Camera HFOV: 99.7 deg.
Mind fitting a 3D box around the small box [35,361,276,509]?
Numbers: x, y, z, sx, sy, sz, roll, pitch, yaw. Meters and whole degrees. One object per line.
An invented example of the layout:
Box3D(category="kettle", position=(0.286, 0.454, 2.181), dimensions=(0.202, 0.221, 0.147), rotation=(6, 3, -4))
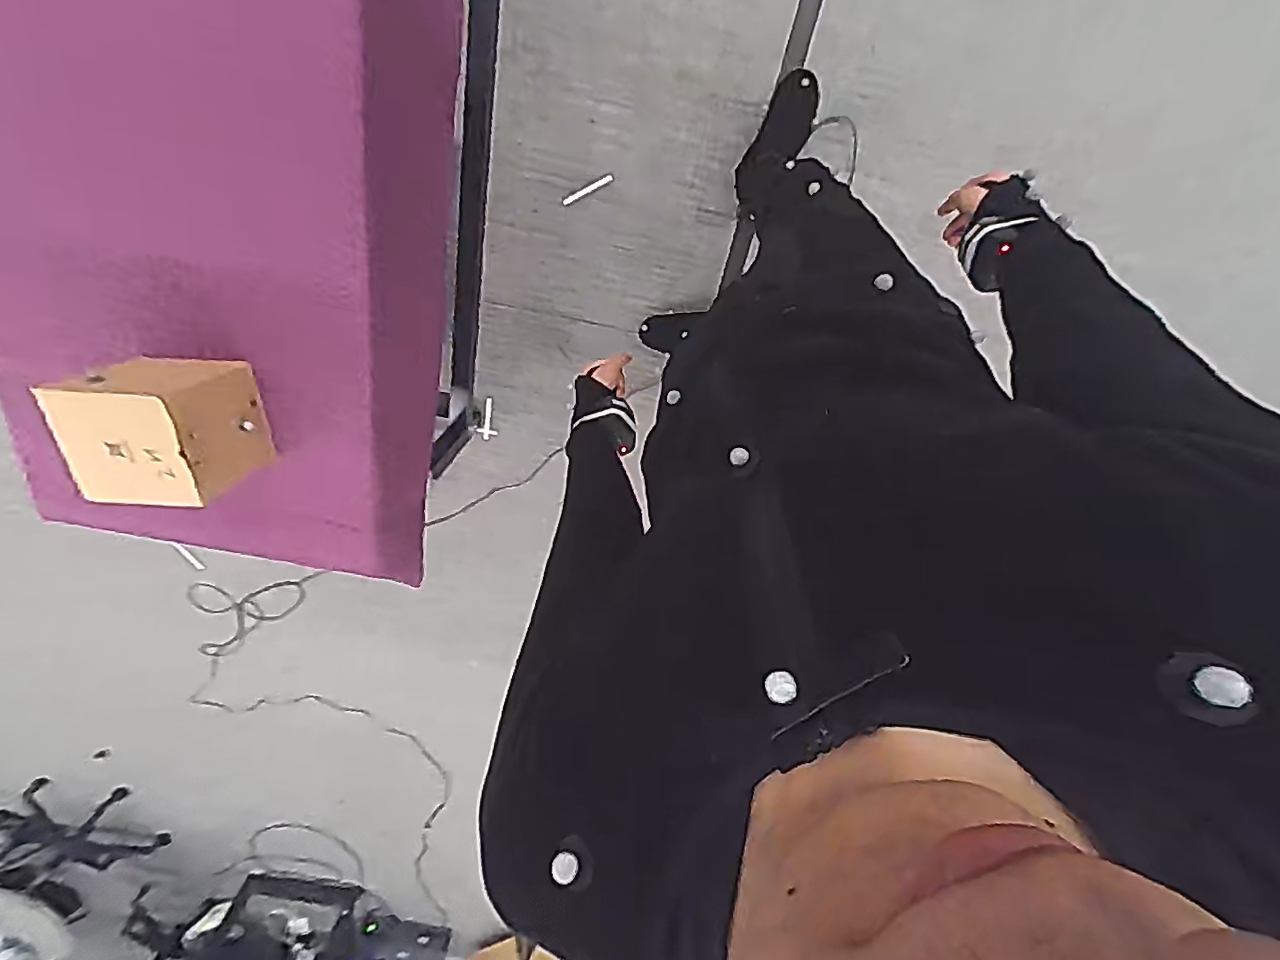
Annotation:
Box3D(category="small box", position=(-0.691, -0.073, 0.798), dimensions=(0.179, 0.176, 0.168), rotation=(3, 117, 1))
